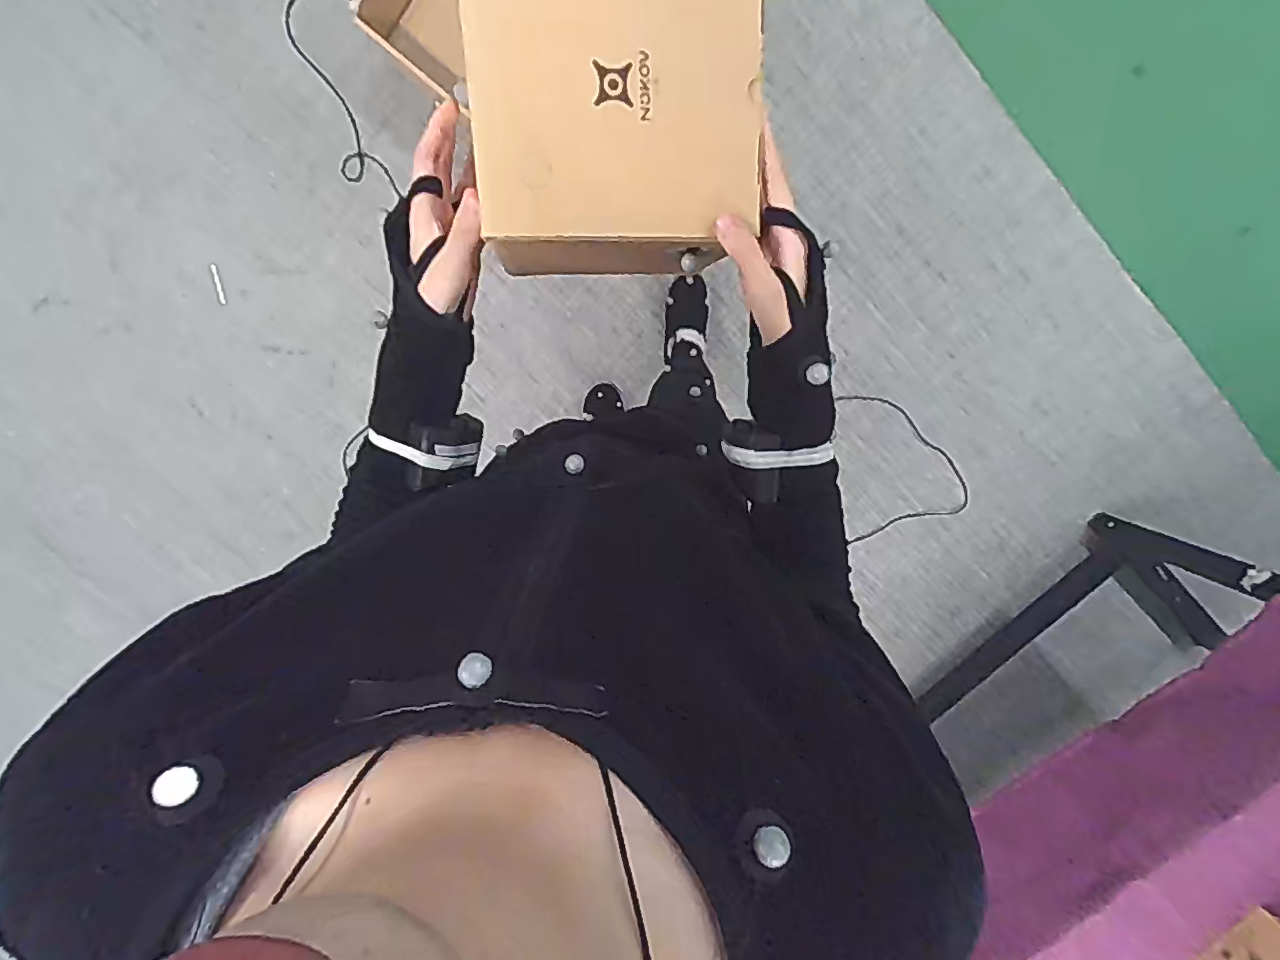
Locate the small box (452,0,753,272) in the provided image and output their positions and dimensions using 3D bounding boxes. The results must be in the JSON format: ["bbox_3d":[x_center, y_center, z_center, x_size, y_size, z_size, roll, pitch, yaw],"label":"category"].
[{"bbox_3d":[-0.030,-0.249,0.395,0.179,0.176,0.168,-4,105,-10],"label":"small box"}]

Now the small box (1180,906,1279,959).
[{"bbox_3d":[1.117,0.890,0.929,0.179,0.176,0.168,35,101,-8],"label":"small box"}]
